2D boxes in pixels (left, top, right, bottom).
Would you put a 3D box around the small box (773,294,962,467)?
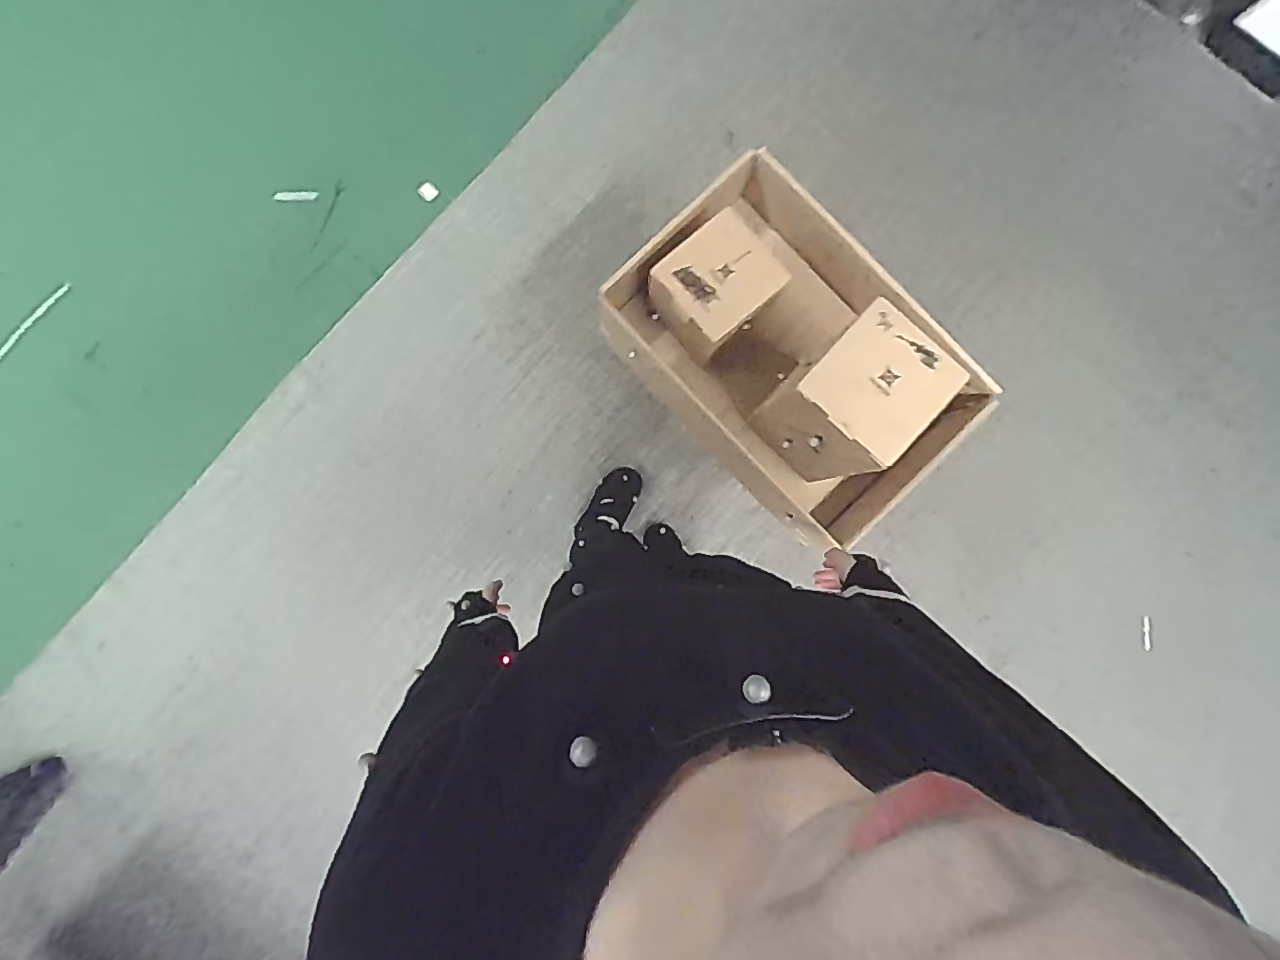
[{"bbox_3d":[0.320,-0.133,0.807,0.168,0.176,0.179,44,88,1],"label":"small box"}]
